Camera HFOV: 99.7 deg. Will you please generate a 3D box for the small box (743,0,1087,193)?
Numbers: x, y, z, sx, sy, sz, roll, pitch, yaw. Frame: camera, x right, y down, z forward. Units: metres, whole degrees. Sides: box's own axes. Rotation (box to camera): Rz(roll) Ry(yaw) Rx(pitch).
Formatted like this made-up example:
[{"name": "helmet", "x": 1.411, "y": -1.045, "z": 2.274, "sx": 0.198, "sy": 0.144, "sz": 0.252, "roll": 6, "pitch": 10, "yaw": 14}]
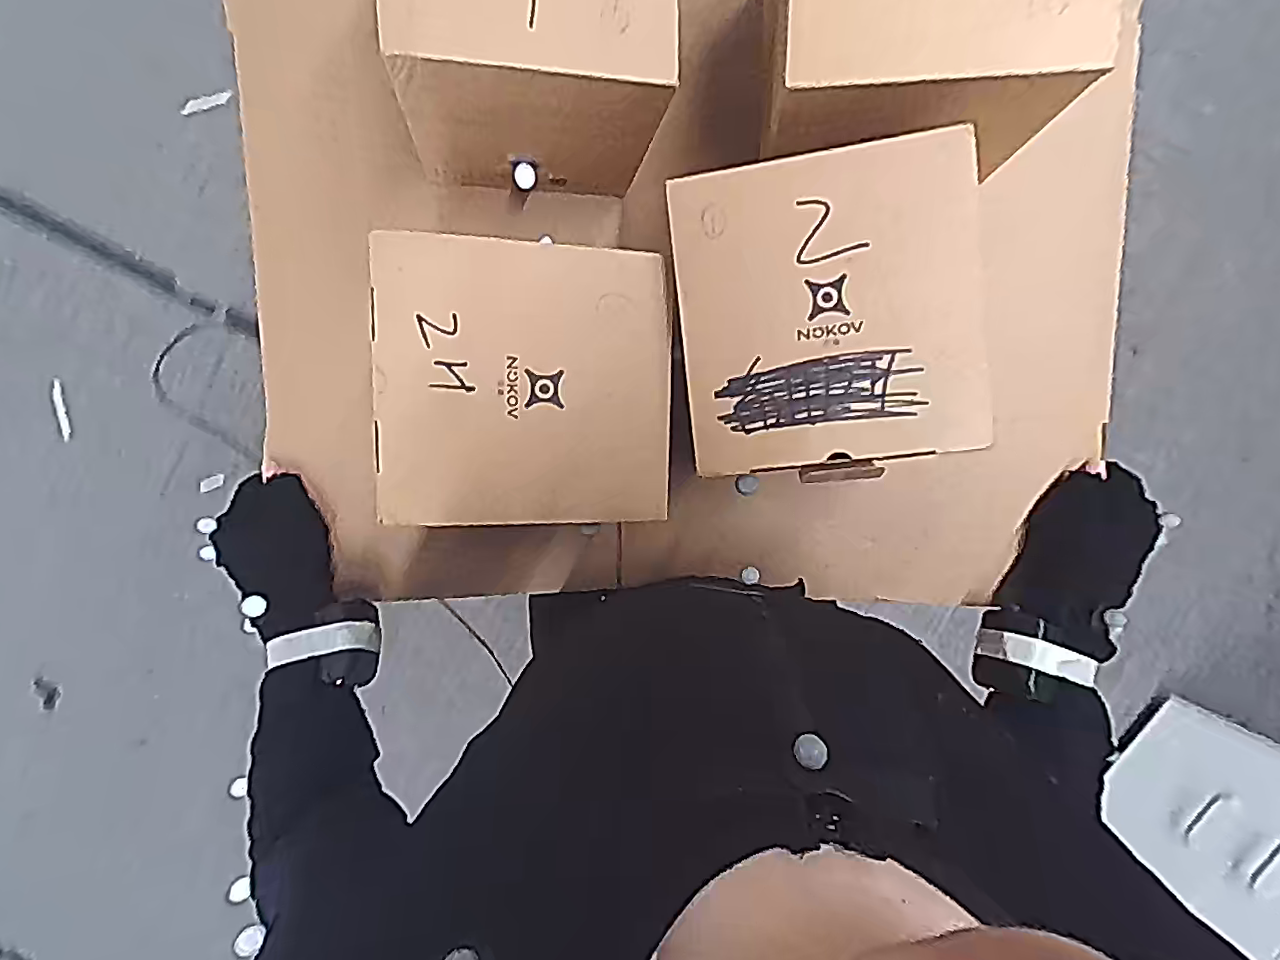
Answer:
[{"name": "small box", "x": 0.158, "y": -0.310, "z": 0.359, "sx": 0.168, "sy": 0.176, "sz": 0.179, "roll": 1, "pitch": 95, "yaw": 7}]
